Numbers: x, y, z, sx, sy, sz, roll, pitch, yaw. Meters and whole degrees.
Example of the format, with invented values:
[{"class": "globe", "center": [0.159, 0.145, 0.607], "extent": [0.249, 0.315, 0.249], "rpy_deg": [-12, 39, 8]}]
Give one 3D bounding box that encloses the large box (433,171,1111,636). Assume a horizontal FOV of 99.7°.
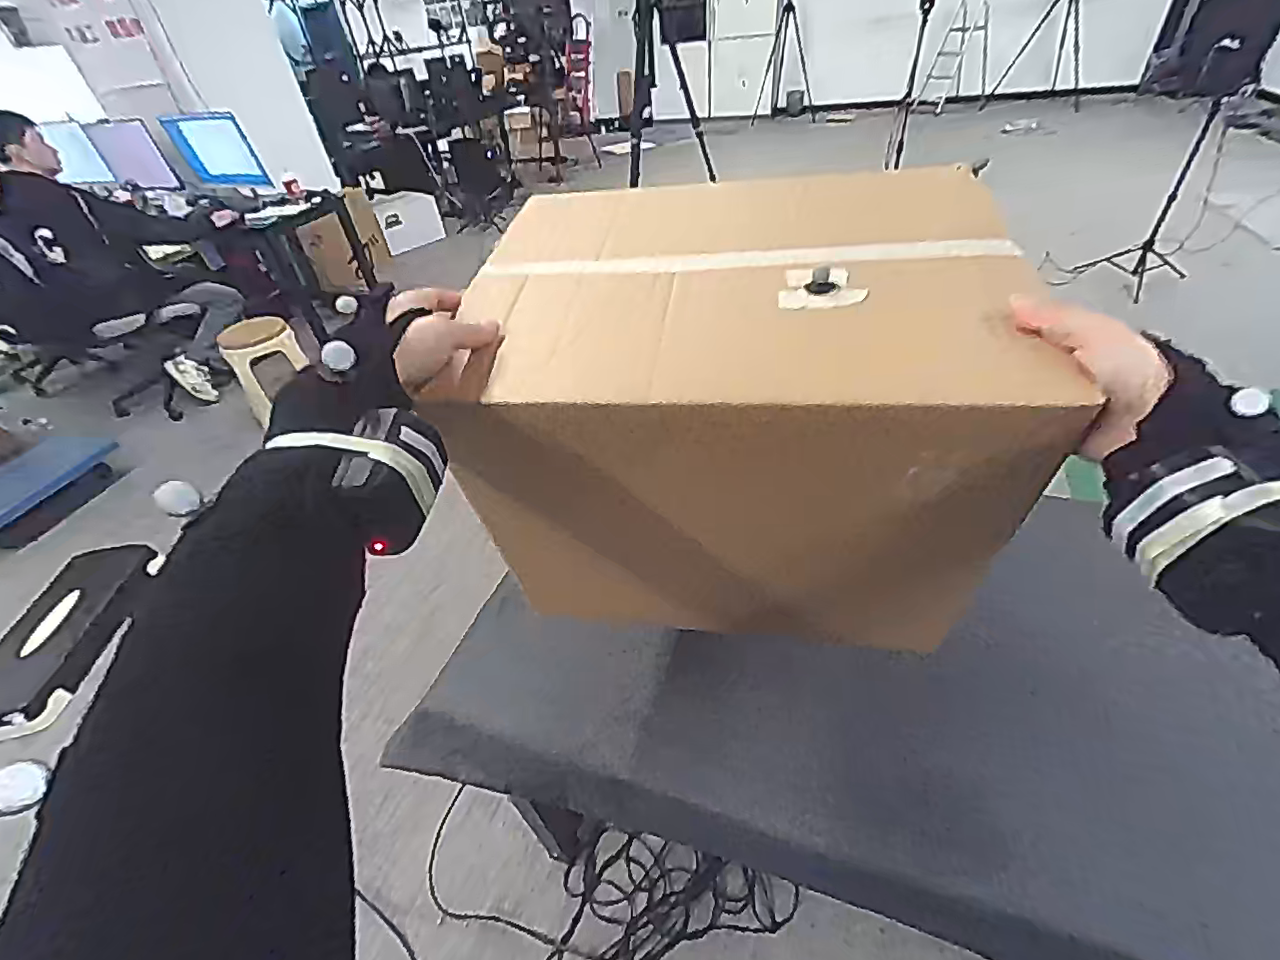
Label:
[{"class": "large box", "center": [0.092, -0.068, 0.525], "extent": [0.408, 0.320, 0.320], "rpy_deg": [3, 51, 10]}]
